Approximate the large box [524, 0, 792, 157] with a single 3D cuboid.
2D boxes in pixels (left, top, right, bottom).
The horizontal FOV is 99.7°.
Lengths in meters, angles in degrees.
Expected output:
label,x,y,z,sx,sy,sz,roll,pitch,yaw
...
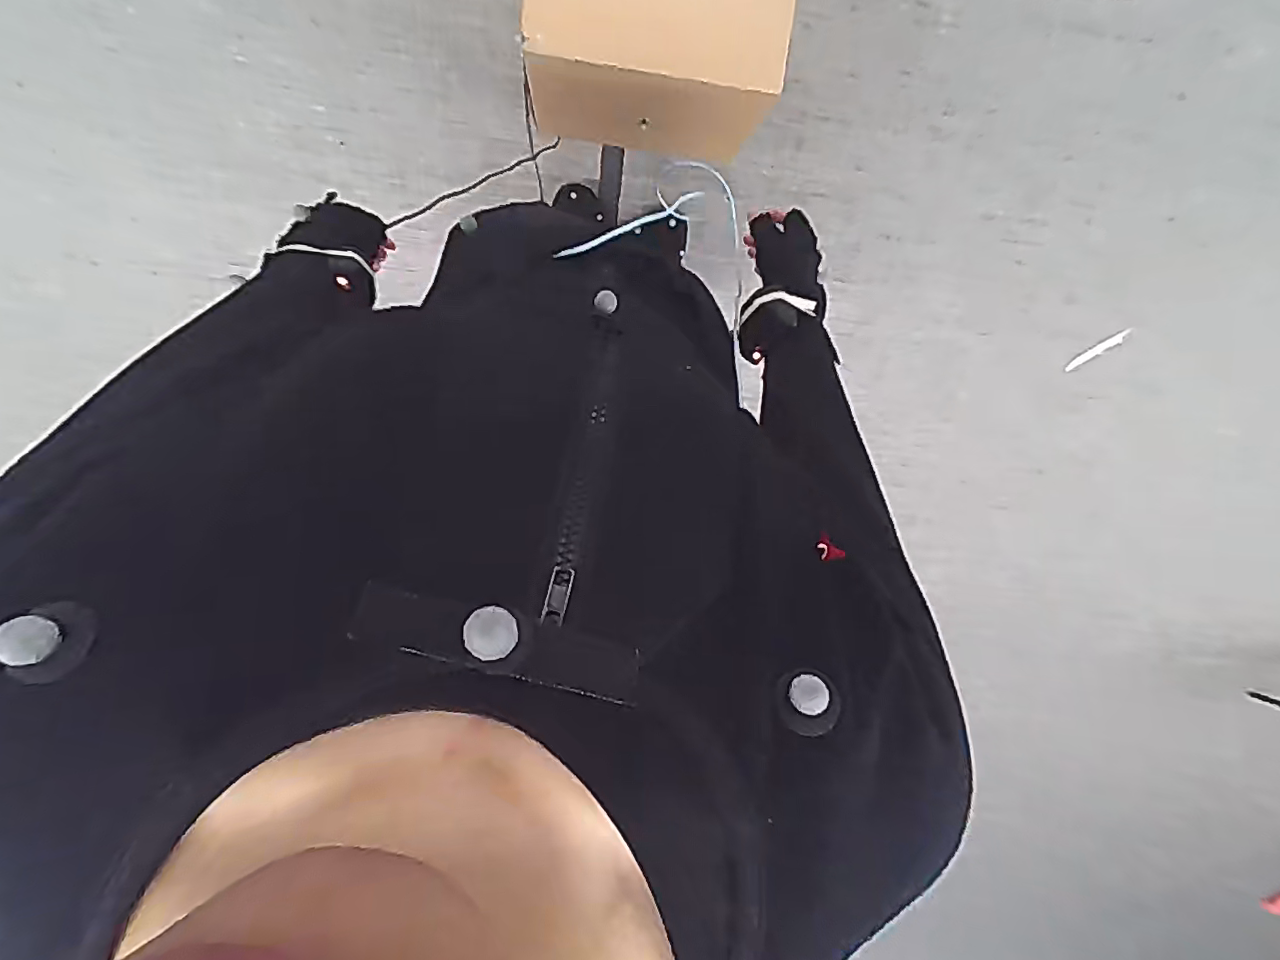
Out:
label,x,y,z,sx,sy,sz,roll,pitch,yaw
large box,0.028,-0.807,0.940,0.408,0.320,0.320,6,100,-6
